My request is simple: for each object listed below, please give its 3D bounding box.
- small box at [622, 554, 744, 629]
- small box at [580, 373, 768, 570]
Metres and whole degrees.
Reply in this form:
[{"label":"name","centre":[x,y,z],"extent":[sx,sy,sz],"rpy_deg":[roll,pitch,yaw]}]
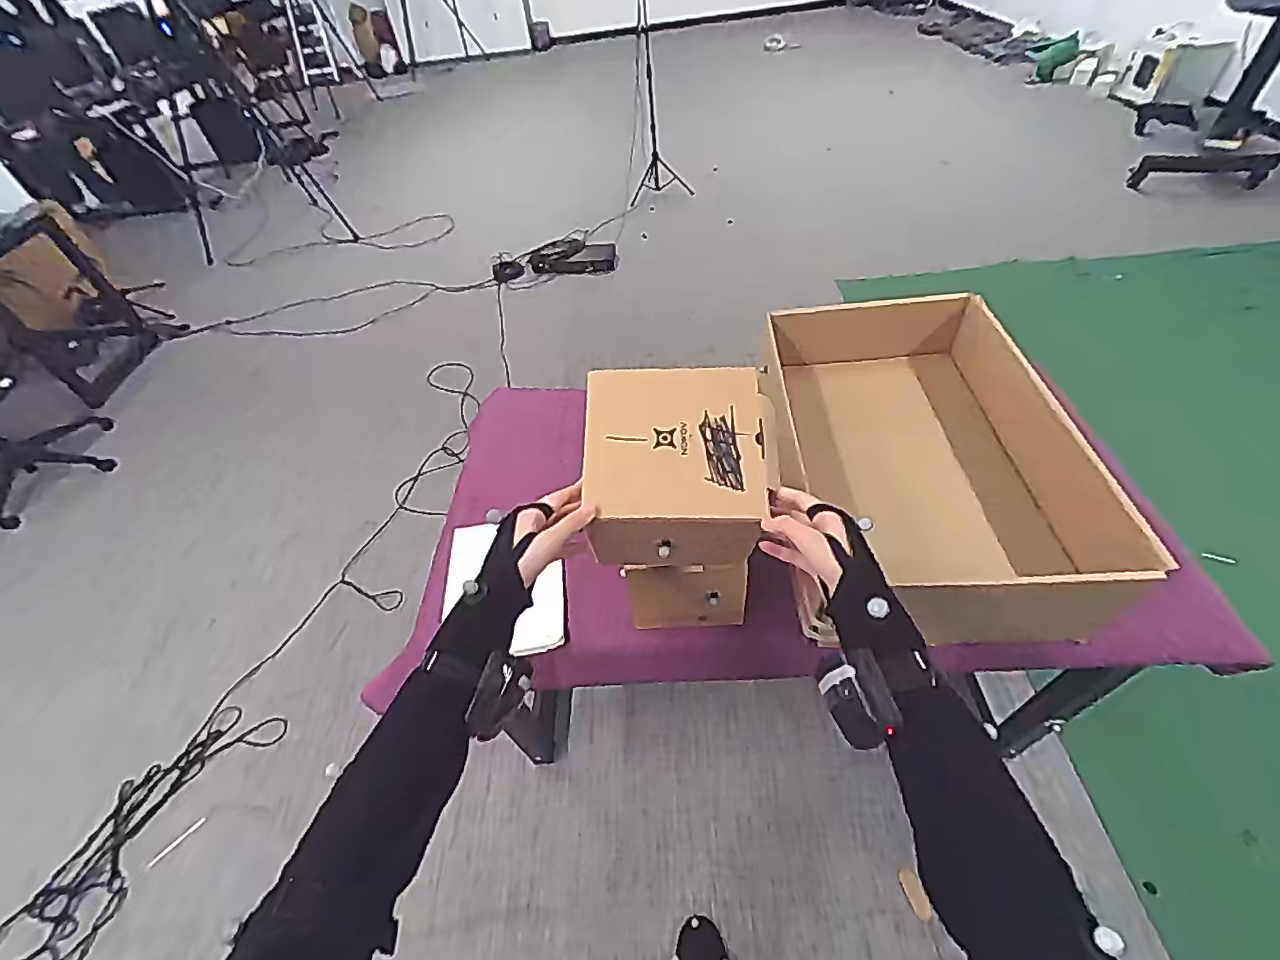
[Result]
[{"label":"small box","centre":[0.068,0.115,0.828],"extent":[0.168,0.176,0.179],"rpy_deg":[-2,46,5]},{"label":"small box","centre":[0.034,-0.002,0.601],"extent":[0.179,0.176,0.168],"rpy_deg":[0,65,2]}]
